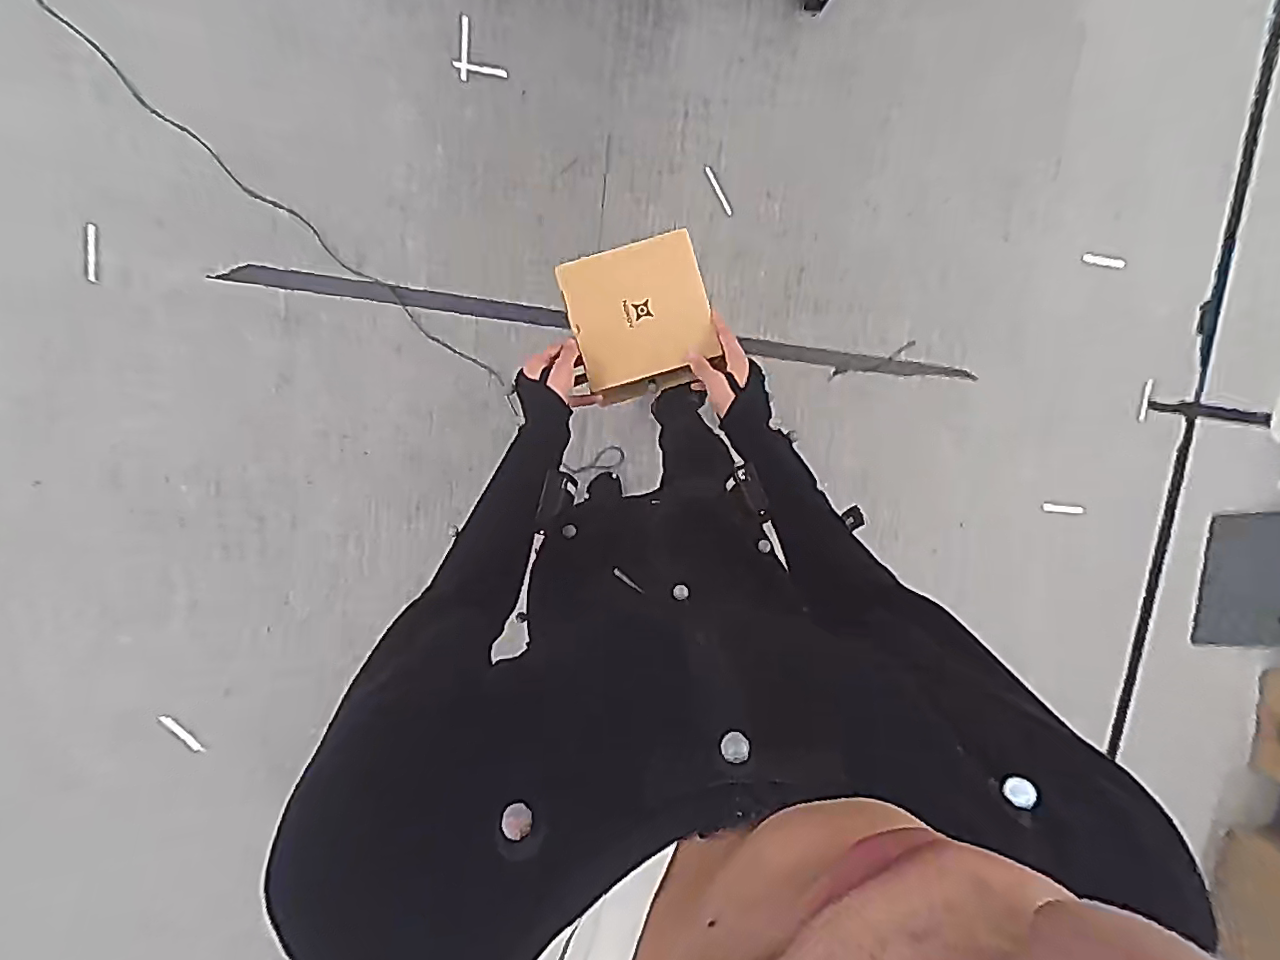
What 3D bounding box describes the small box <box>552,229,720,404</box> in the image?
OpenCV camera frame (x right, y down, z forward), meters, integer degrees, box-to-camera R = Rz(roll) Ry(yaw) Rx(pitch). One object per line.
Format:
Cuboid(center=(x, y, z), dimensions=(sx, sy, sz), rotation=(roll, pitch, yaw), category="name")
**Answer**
Cuboid(center=(-0.005, -0.211, 0.745), dimensions=(0.179, 0.176, 0.168), rotation=(-17, 92, 2), category="small box")
